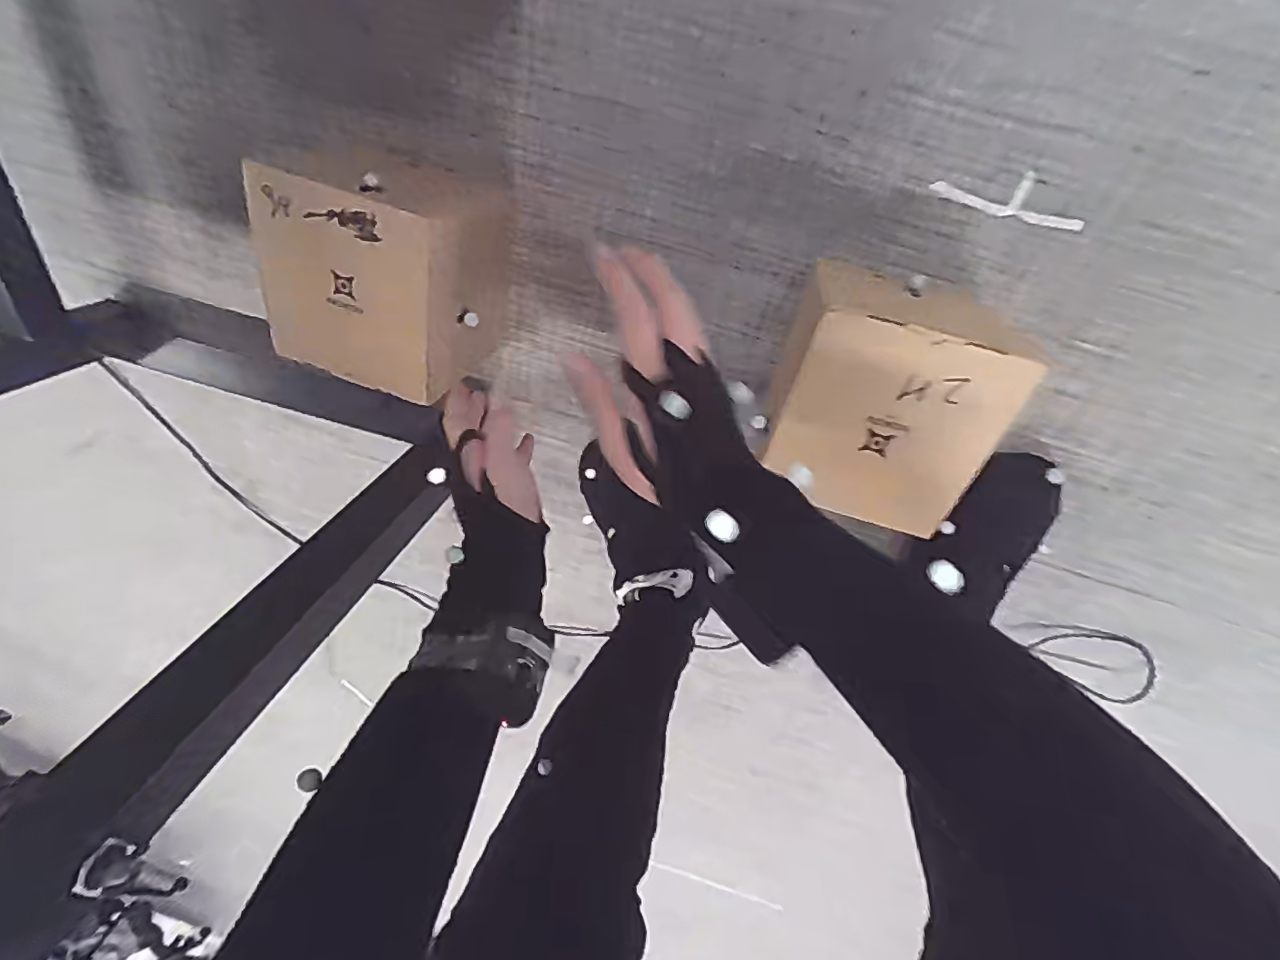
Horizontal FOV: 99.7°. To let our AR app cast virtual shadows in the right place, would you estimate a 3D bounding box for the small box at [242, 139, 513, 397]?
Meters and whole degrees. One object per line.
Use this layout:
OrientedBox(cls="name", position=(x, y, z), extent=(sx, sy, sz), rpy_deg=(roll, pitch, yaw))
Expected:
OrientedBox(cls="small box", position=(-0.240, -0.215, 0.536), extent=(0.168, 0.176, 0.179), rpy_deg=(19, 125, 2))
